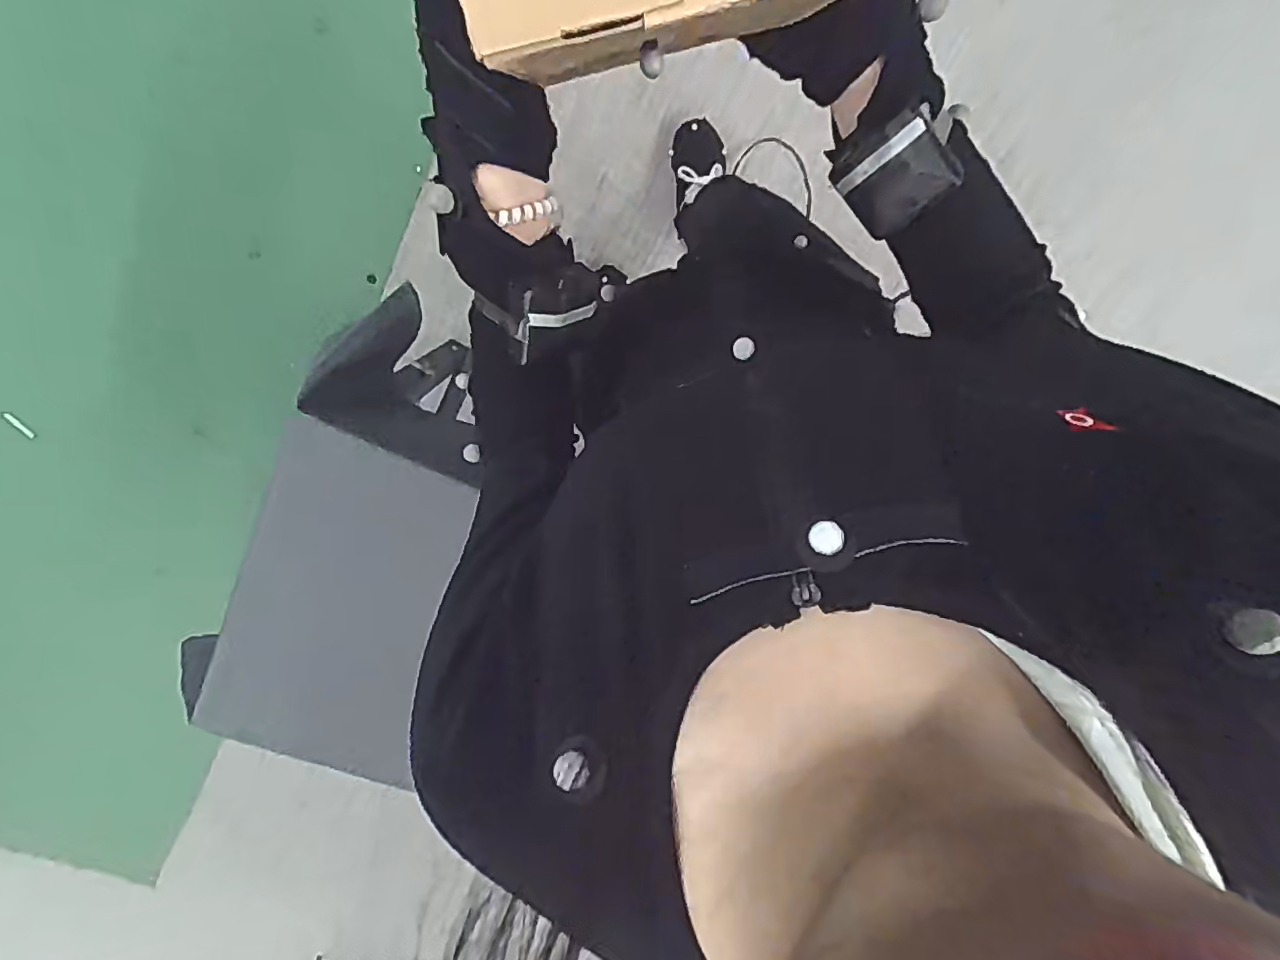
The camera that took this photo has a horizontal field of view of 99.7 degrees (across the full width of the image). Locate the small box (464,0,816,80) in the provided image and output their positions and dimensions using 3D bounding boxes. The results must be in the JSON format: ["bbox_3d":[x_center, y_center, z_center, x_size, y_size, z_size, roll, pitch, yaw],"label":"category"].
[{"bbox_3d":[-0.002,-0.286,0.214,0.168,0.176,0.179,-12,124,5],"label":"small box"}]
